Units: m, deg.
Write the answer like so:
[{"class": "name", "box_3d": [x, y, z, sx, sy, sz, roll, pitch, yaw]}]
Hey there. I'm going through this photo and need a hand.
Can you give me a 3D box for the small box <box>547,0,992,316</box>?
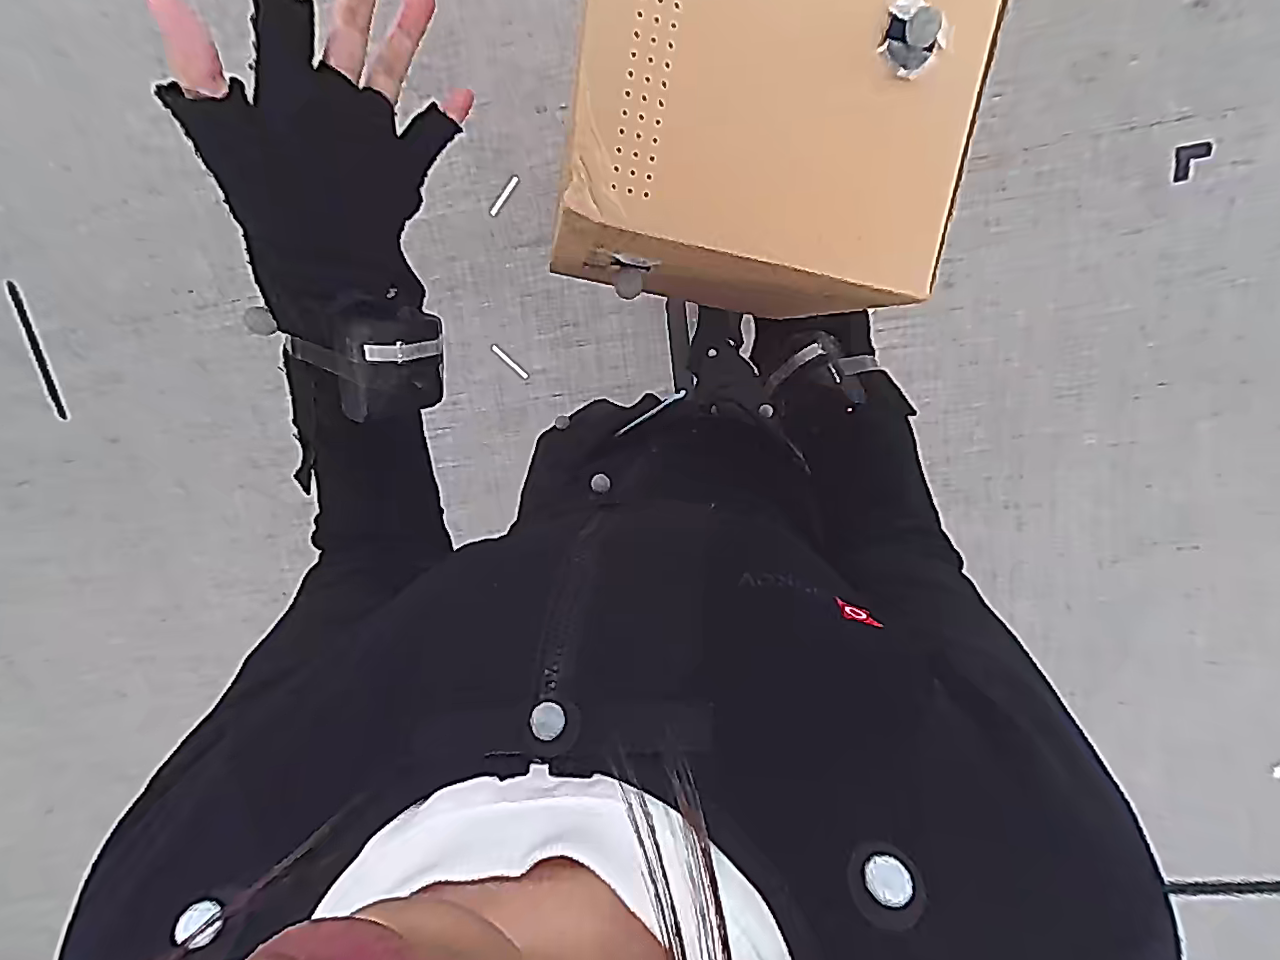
[{"class": "small box", "box_3d": [0.047, -0.198, 0.293, 0.176, 0.168, 0.179, 8, 102, -12]}]
